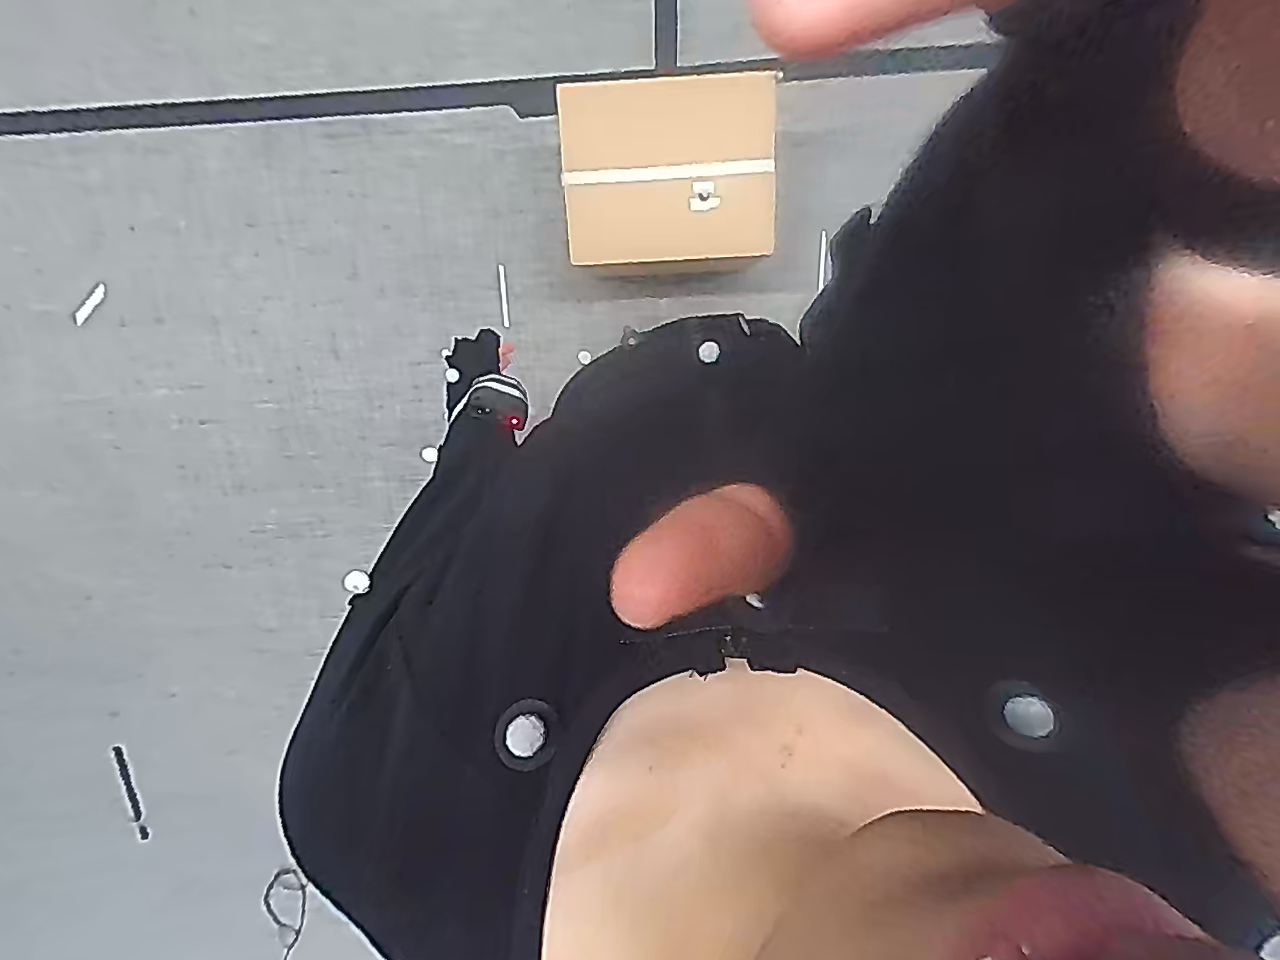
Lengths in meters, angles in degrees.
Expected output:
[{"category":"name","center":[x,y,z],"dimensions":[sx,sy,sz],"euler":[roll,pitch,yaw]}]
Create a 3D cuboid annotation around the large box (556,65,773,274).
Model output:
[{"category":"large box","center":[0.051,-0.634,1.167],"dimensions":[0.408,0.320,0.320],"euler":[-3,107,0]}]
